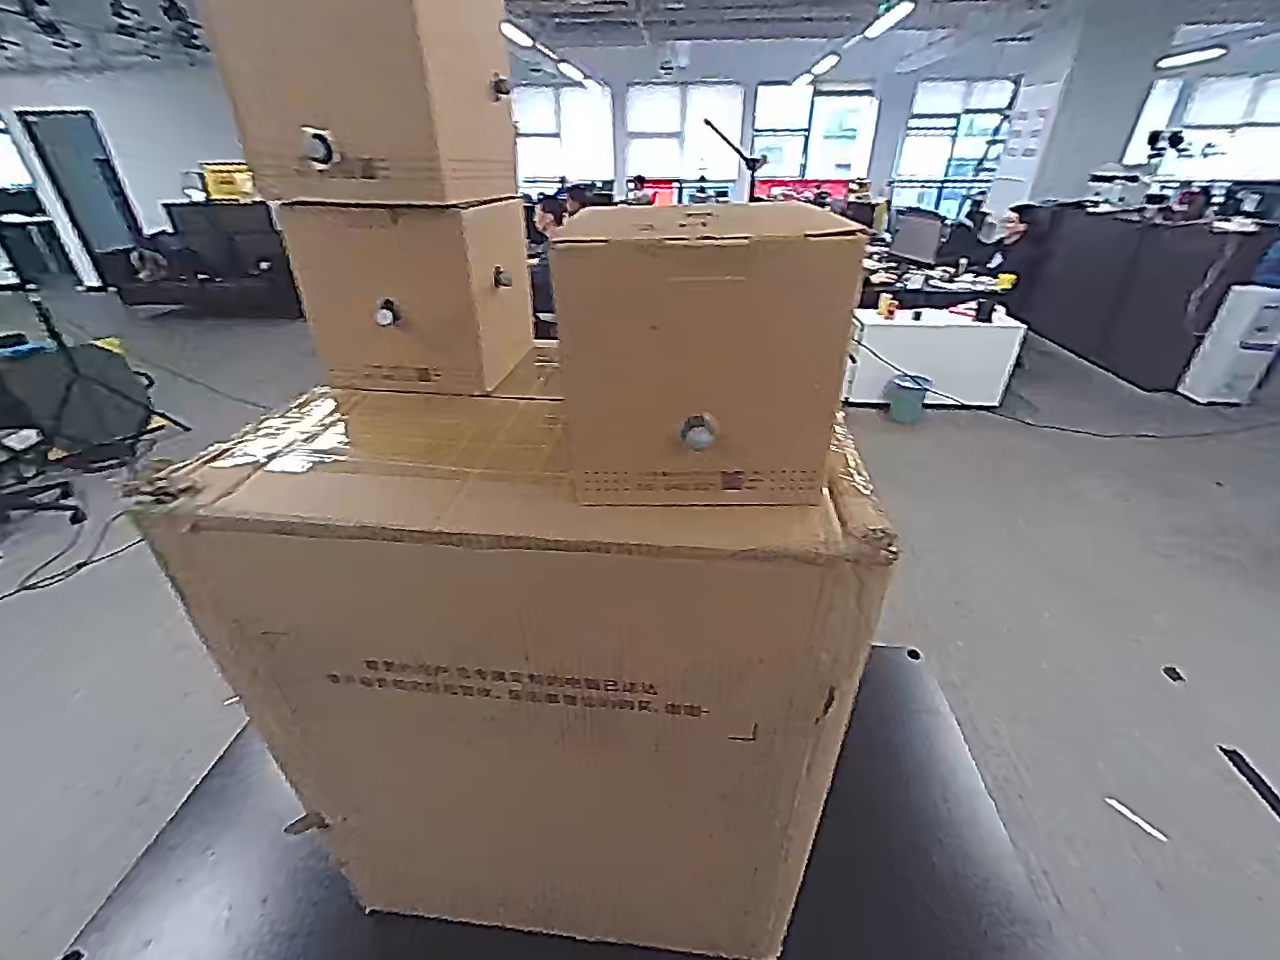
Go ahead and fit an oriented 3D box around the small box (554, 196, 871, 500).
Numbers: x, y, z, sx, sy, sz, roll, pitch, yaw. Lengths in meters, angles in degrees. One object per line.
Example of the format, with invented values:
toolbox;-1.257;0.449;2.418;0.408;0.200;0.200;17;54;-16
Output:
small box;0.041;-0.102;0.387;0.168;0.176;0.179;-1;32;3

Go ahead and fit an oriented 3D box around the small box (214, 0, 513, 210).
small box;-0.215;-0.332;0.460;0.168;0.176;0.179;3;31;6

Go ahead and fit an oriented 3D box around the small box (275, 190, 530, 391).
small box;-0.217;-0.199;0.557;0.168;0.176;0.179;3;31;4
